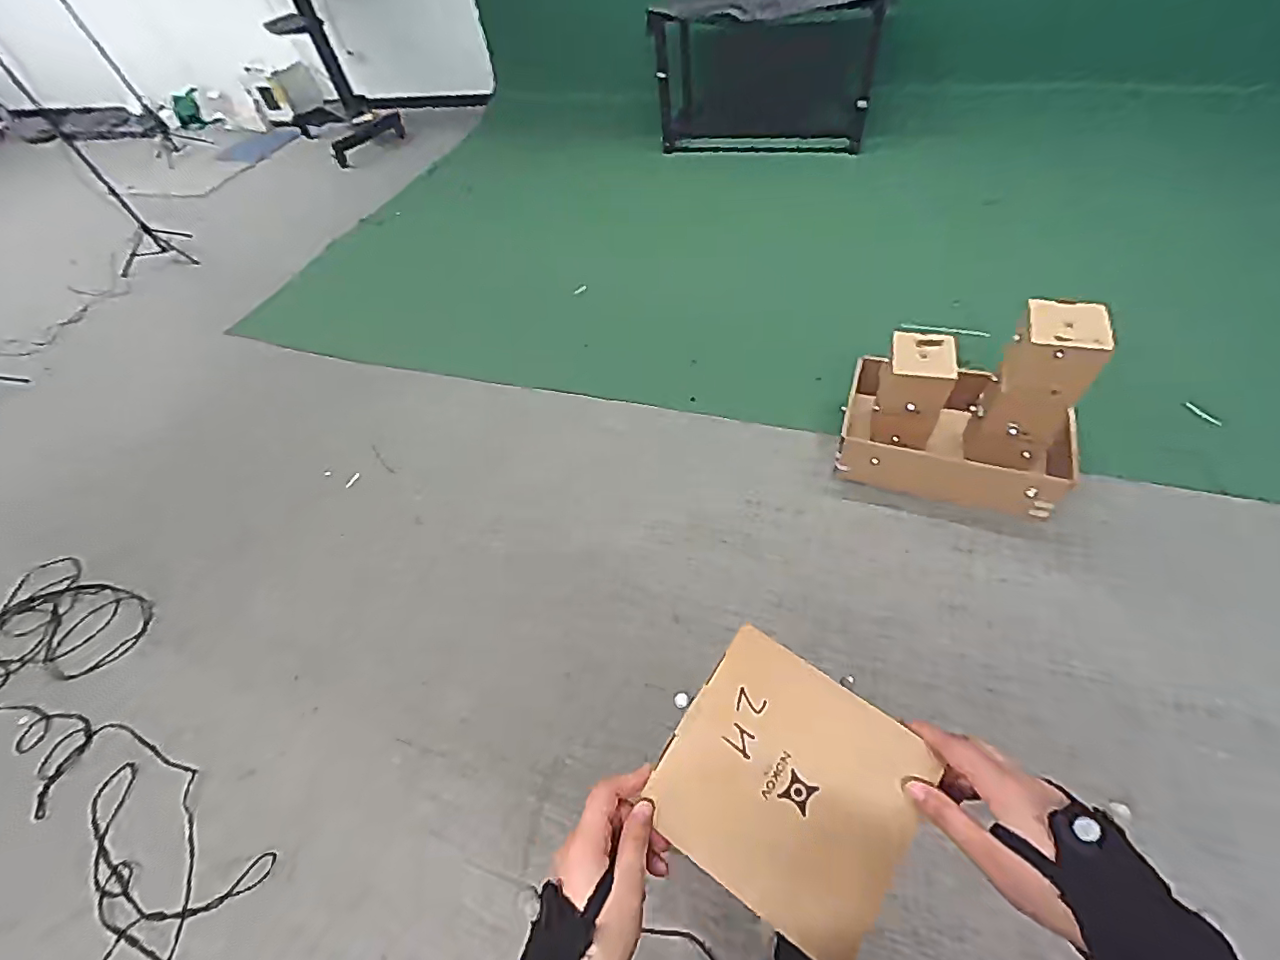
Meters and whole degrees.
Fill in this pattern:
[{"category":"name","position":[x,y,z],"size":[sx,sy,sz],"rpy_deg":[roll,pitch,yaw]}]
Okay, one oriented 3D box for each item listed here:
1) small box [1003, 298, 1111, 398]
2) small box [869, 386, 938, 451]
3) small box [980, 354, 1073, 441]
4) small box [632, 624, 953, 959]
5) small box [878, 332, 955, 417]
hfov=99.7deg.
[{"category":"small box","position":[1.044,-0.335,1.371],"size":[0.168,0.176,0.179],"rpy_deg":[11,55,19]},{"category":"small box","position":[0.841,-0.222,1.735],"size":[0.168,0.176,0.179],"rpy_deg":[10,56,15]},{"category":"small box","position":[1.067,-0.237,1.501],"size":[0.168,0.176,0.179],"rpy_deg":[14,58,20]},{"category":"small box","position":[0.117,0.247,0.463],"size":[0.179,0.176,0.168],"rpy_deg":[31,75,17]},{"category":"small box","position":[0.810,-0.312,1.600],"size":[0.168,0.176,0.179],"rpy_deg":[8,57,14]}]
